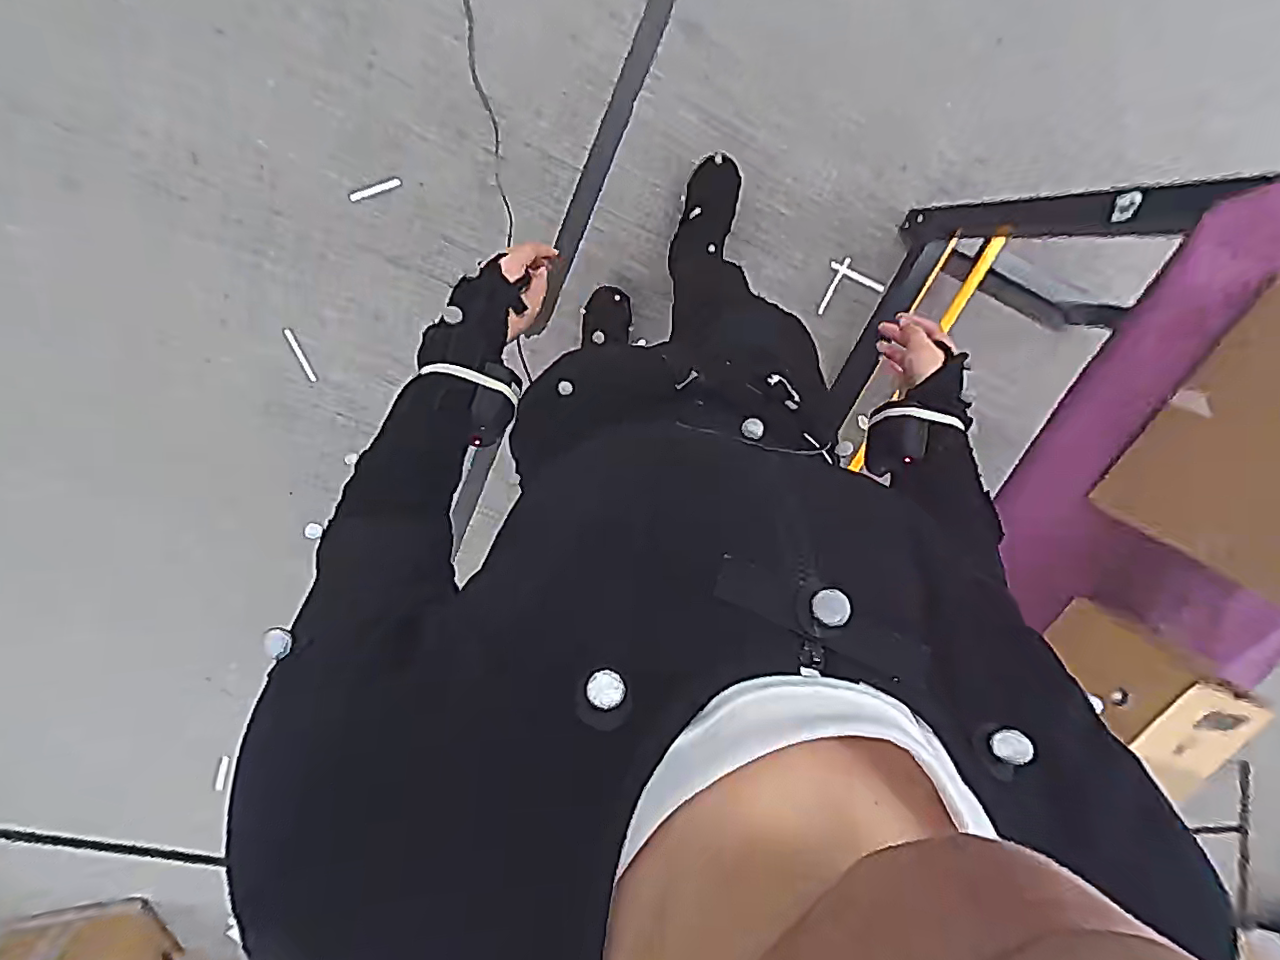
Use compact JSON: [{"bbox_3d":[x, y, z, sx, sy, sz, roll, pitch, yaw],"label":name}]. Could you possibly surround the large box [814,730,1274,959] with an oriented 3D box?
[{"bbox_3d":[0.549,0.626,0.797,0.408,0.320,0.320,19,110,-17],"label":"large box"}]
